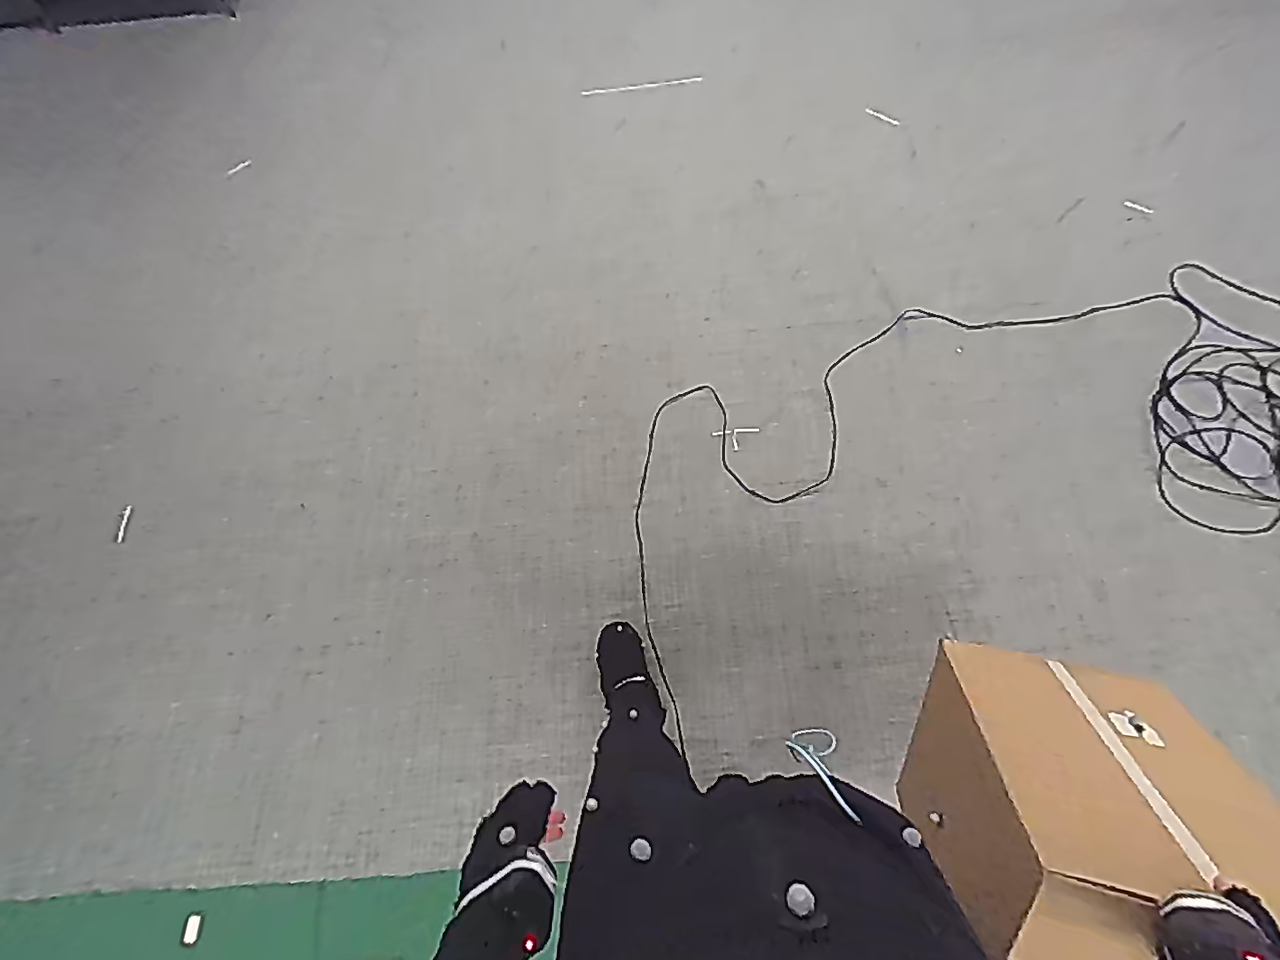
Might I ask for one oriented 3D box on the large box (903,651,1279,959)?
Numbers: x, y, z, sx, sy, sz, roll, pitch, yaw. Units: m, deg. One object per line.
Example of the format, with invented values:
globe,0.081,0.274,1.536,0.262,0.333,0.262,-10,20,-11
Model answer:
large box,0.571,0.494,0.703,0.320,0.408,0.320,10,107,13
